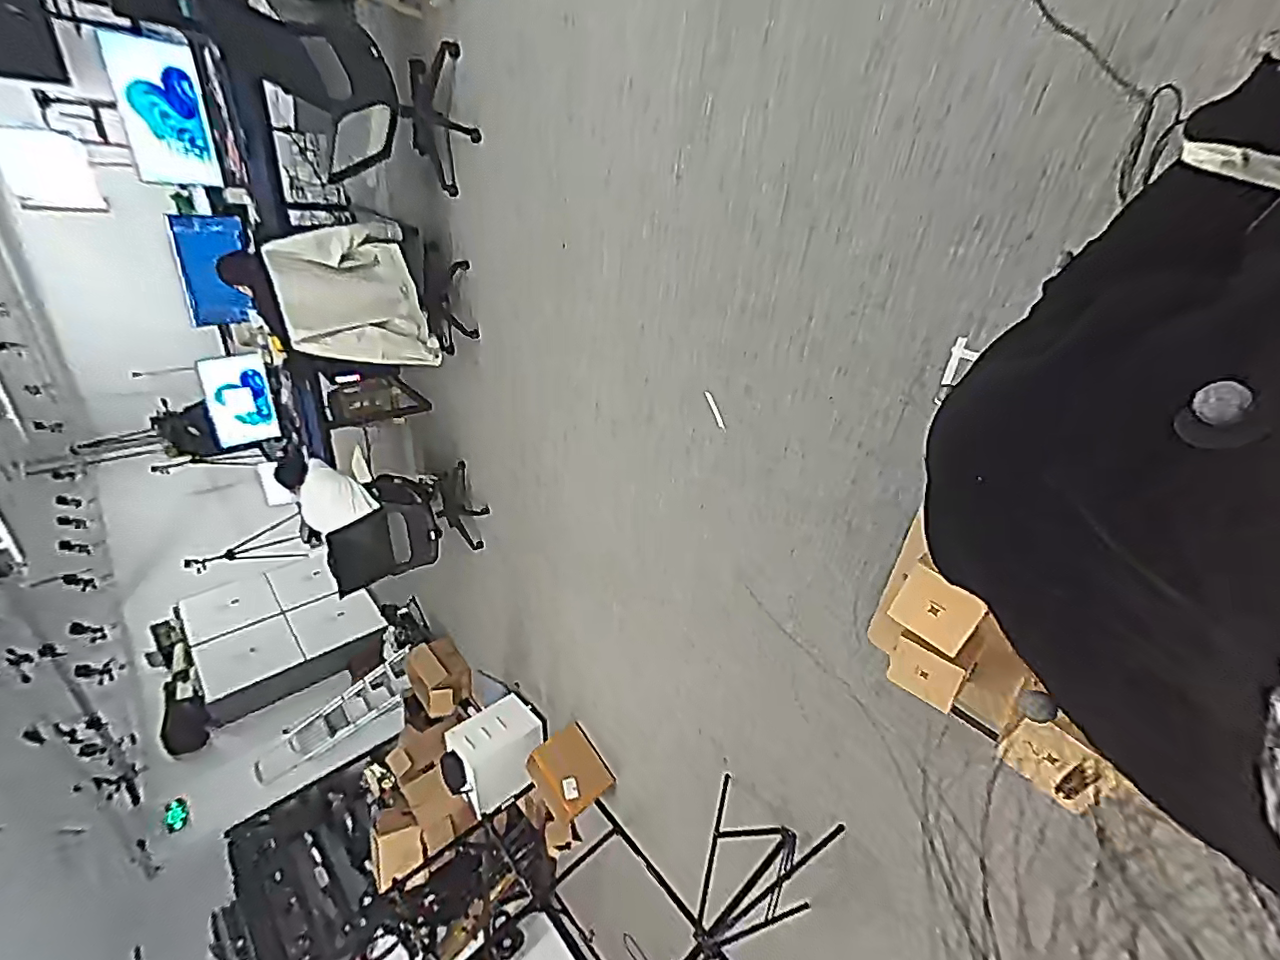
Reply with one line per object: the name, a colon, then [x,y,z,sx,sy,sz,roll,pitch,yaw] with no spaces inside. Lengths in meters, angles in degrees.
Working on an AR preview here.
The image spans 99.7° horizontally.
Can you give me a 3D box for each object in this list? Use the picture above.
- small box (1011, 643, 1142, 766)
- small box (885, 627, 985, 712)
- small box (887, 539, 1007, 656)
small box: [1.037,0.524,1.283,0.179,0.176,0.168,40,132,29]
small box: [0.827,0.502,1.519,0.179,0.176,0.168,28,127,40]
small box: [0.726,0.270,1.275,0.168,0.176,0.179,36,129,34]
